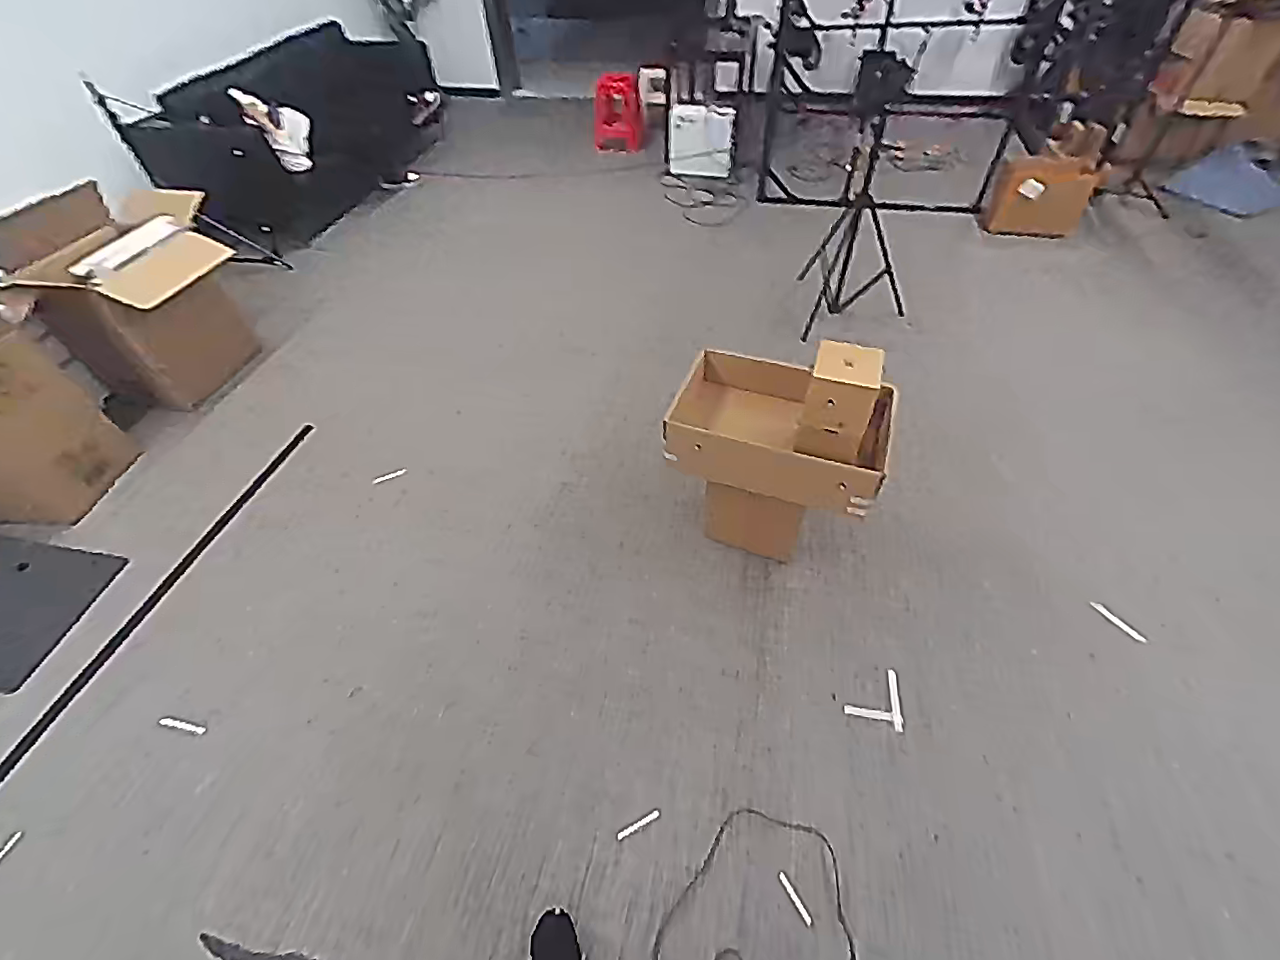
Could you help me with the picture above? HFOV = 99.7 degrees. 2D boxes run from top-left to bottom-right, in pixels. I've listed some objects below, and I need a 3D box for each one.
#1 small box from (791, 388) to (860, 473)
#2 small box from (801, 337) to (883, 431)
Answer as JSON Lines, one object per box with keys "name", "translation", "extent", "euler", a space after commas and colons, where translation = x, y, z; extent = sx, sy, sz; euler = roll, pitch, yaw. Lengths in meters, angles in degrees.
{"name": "small box", "translation": [0.540, -0.145, 1.563], "extent": [0.168, 0.176, 0.179], "euler": [13, 49, 14]}
{"name": "small box", "translation": [0.535, -0.254, 1.443], "extent": [0.168, 0.176, 0.179], "euler": [14, 50, 14]}
